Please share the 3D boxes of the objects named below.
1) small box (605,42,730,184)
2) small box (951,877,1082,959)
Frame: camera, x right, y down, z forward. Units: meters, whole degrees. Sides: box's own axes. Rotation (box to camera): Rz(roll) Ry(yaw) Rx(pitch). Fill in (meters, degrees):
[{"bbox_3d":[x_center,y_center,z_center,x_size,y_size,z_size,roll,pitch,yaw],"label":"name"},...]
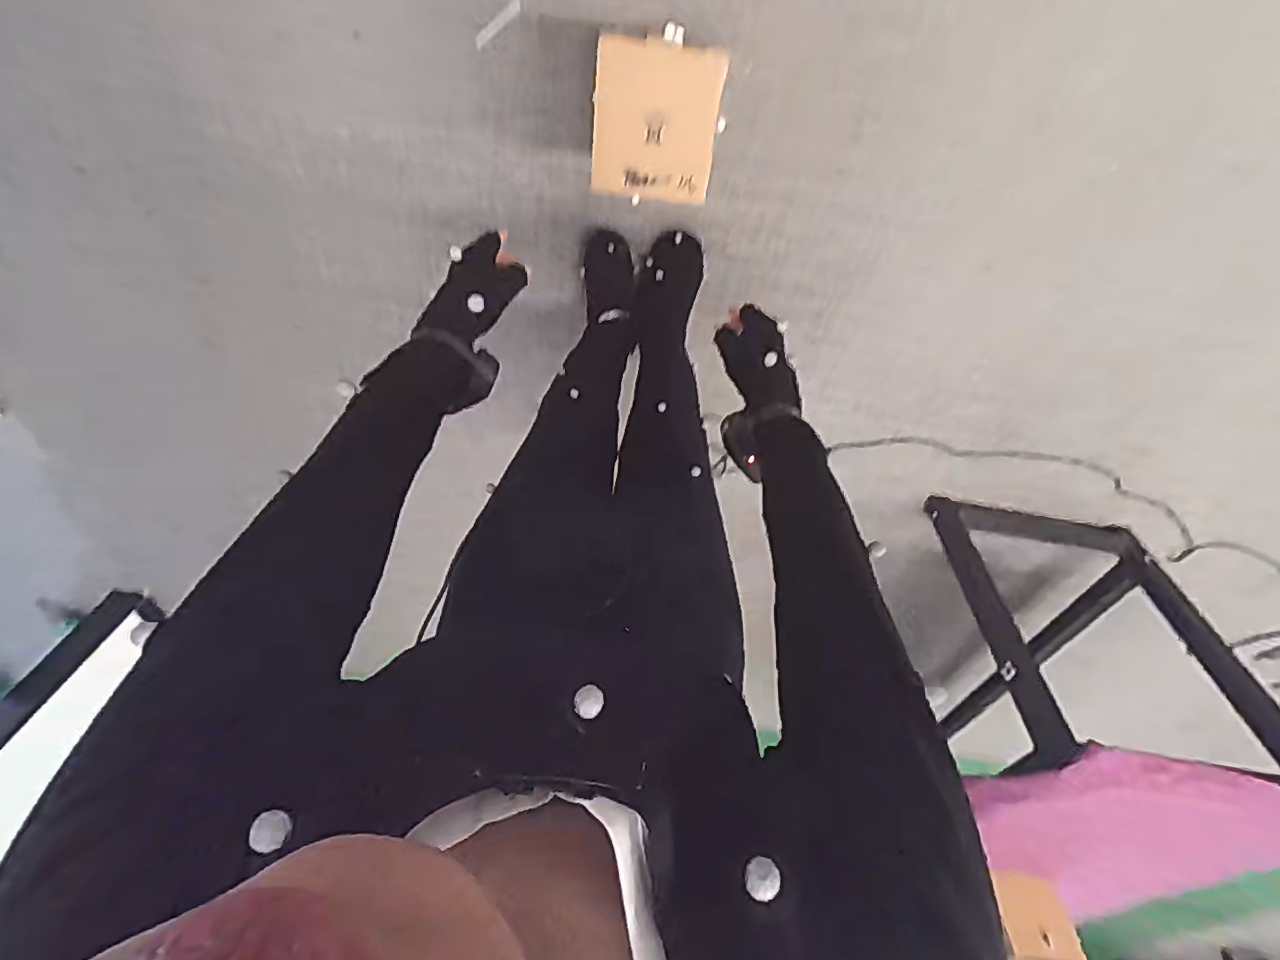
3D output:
[{"bbox_3d":[0.045,-0.620,0.912,0.179,0.176,0.168,9,130,-1],"label":"small box"},{"bbox_3d":[0.863,1.040,1.241,0.179,0.176,0.168,13,129,-4],"label":"small box"}]
